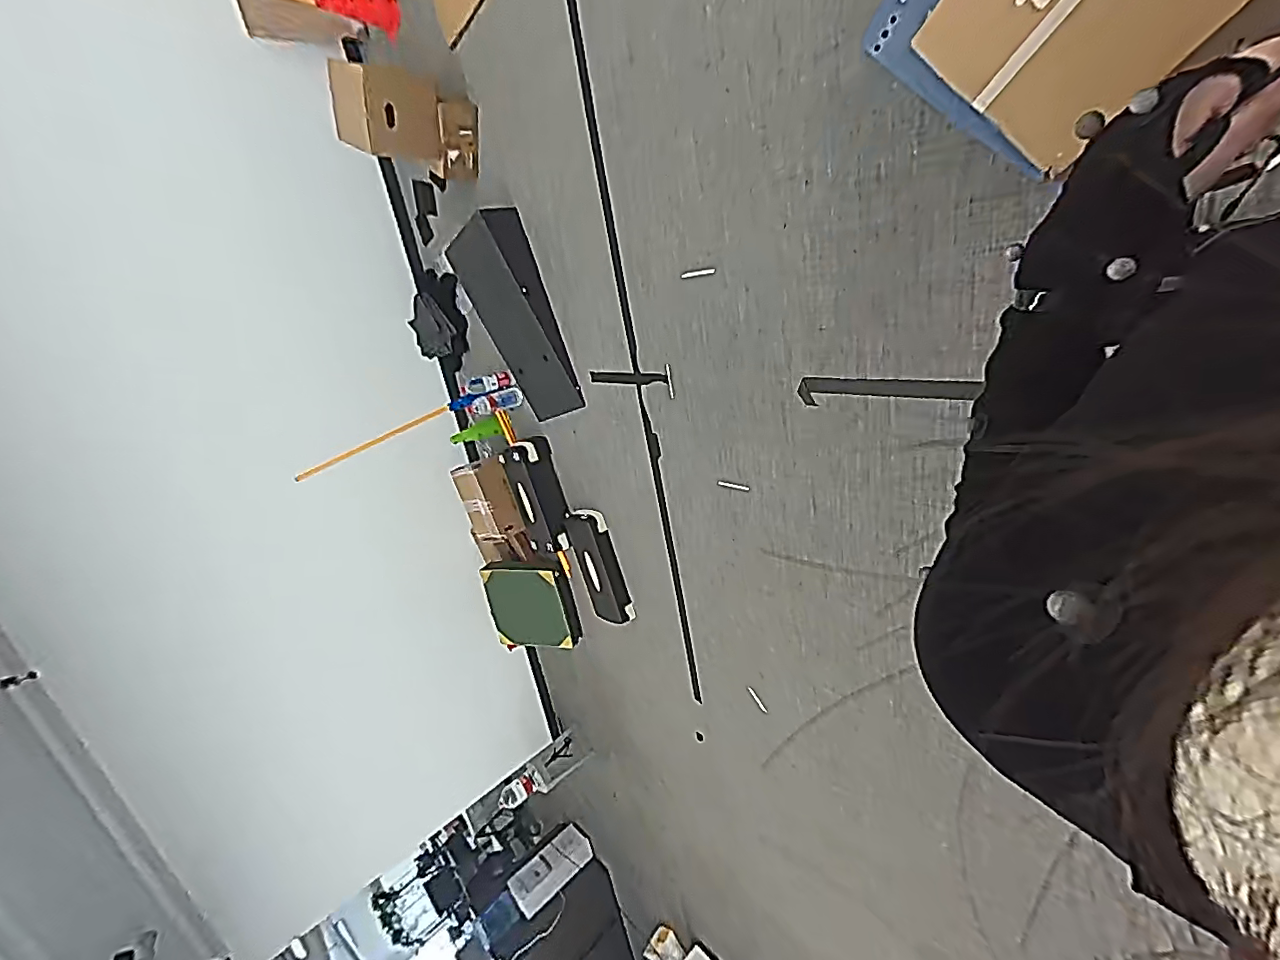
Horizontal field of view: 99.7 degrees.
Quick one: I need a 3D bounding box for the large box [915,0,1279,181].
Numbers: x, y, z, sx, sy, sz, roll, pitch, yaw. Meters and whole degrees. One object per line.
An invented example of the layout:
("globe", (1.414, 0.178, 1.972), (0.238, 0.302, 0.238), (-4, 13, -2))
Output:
("large box", (0.691, -0.696, 0.733), (0.320, 0.320, 0.408), (56, 143, 13))
